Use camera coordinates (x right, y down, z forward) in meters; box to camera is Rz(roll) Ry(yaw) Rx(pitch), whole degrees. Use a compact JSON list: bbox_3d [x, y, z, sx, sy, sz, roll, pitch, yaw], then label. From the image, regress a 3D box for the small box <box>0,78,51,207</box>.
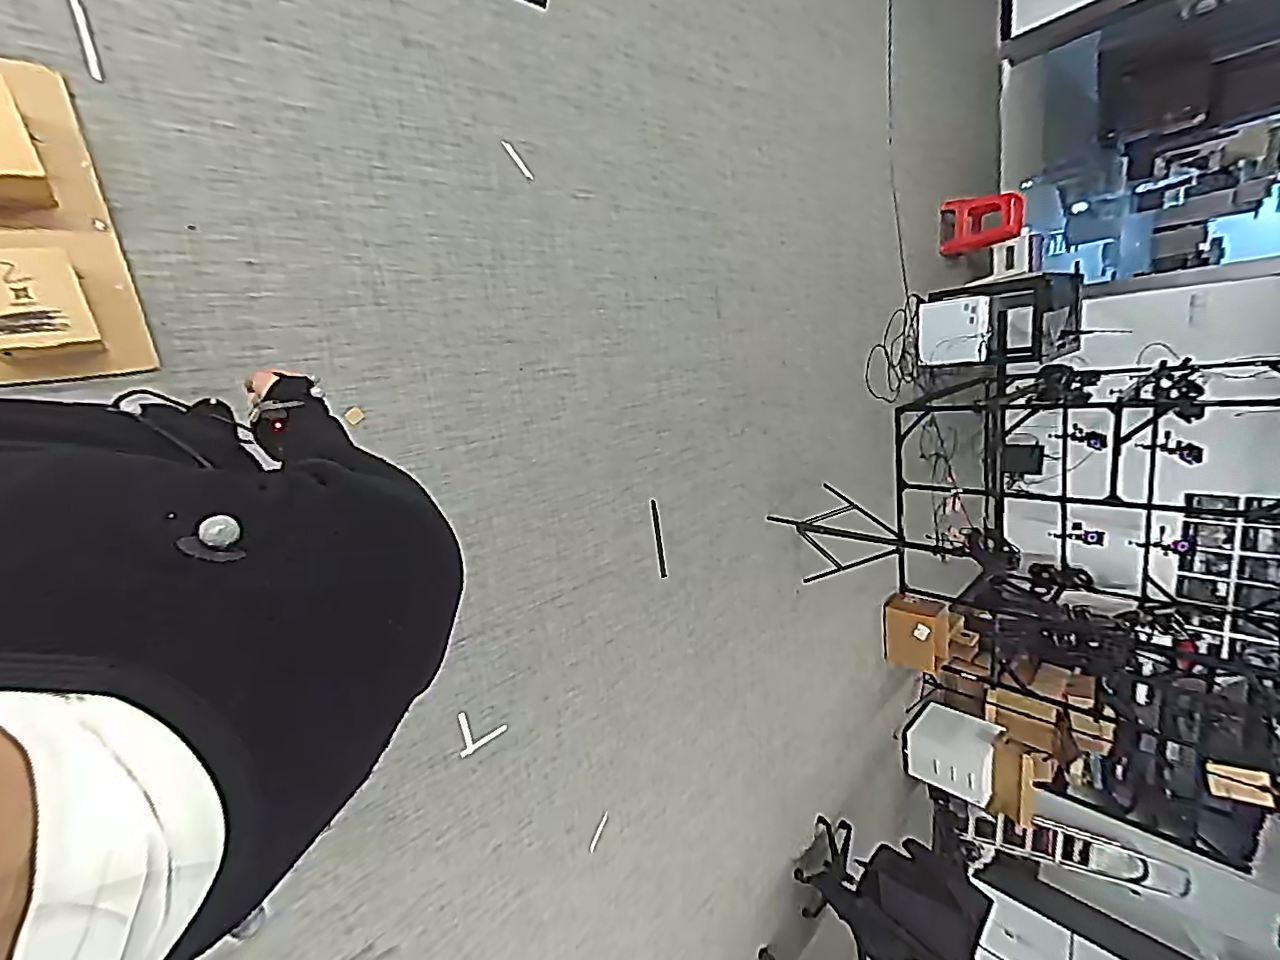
[{"bbox_3d":[-1.217,-0.611,0.971,0.168,0.176,0.179,-24,110,-38],"label":"small box"}]
